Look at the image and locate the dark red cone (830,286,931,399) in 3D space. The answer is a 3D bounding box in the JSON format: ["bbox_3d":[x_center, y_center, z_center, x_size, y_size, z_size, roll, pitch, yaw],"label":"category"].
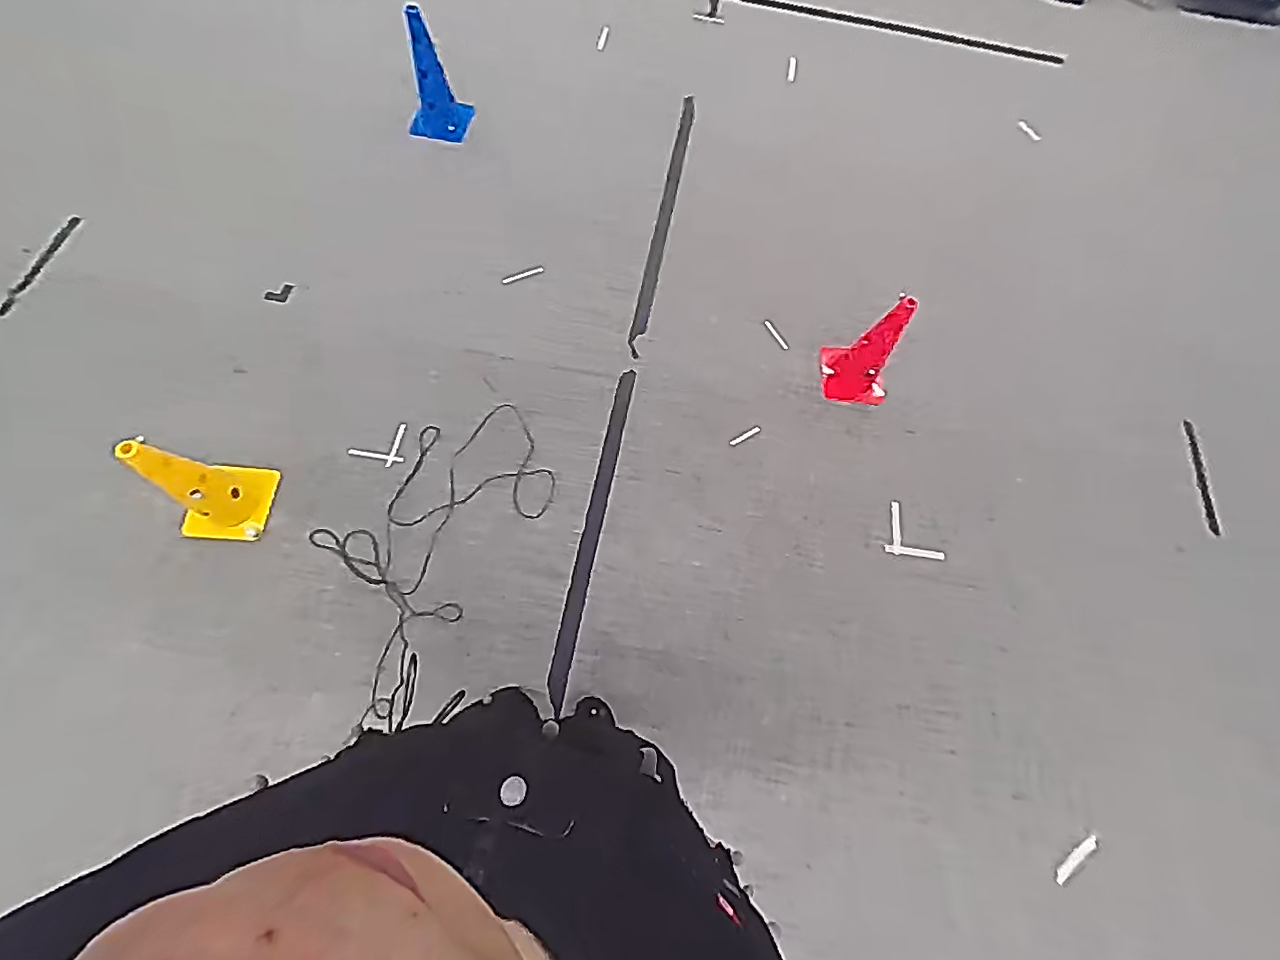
[{"bbox_3d":[0.702,-0.406,1.533,0.201,0.394,0.202,4,69,-2],"label":"dark red cone"}]

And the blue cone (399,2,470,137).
[{"bbox_3d":[-0.723,-1.393,1.835,0.192,0.380,0.193,11,69,1],"label":"blue cone"}]
